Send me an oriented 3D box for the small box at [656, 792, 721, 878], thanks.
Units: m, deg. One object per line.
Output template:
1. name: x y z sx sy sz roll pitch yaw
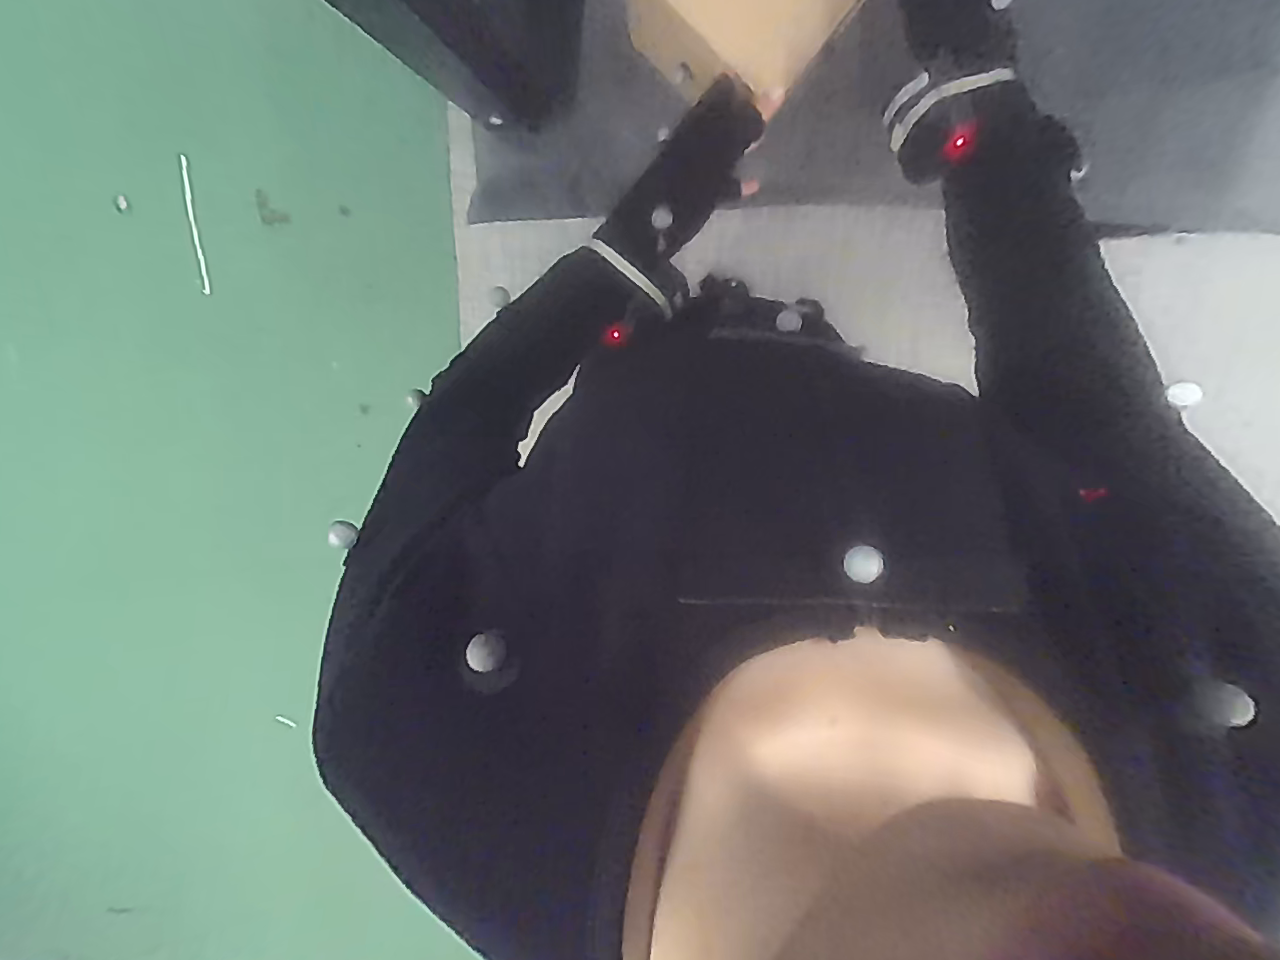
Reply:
1. small box: 0.167 1.235 1.890 0.179 0.176 0.168 19 110 -3

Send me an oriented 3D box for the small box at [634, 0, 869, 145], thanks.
1. small box: 0.107 -0.449 0.492 0.168 0.176 0.179 41 106 -12
